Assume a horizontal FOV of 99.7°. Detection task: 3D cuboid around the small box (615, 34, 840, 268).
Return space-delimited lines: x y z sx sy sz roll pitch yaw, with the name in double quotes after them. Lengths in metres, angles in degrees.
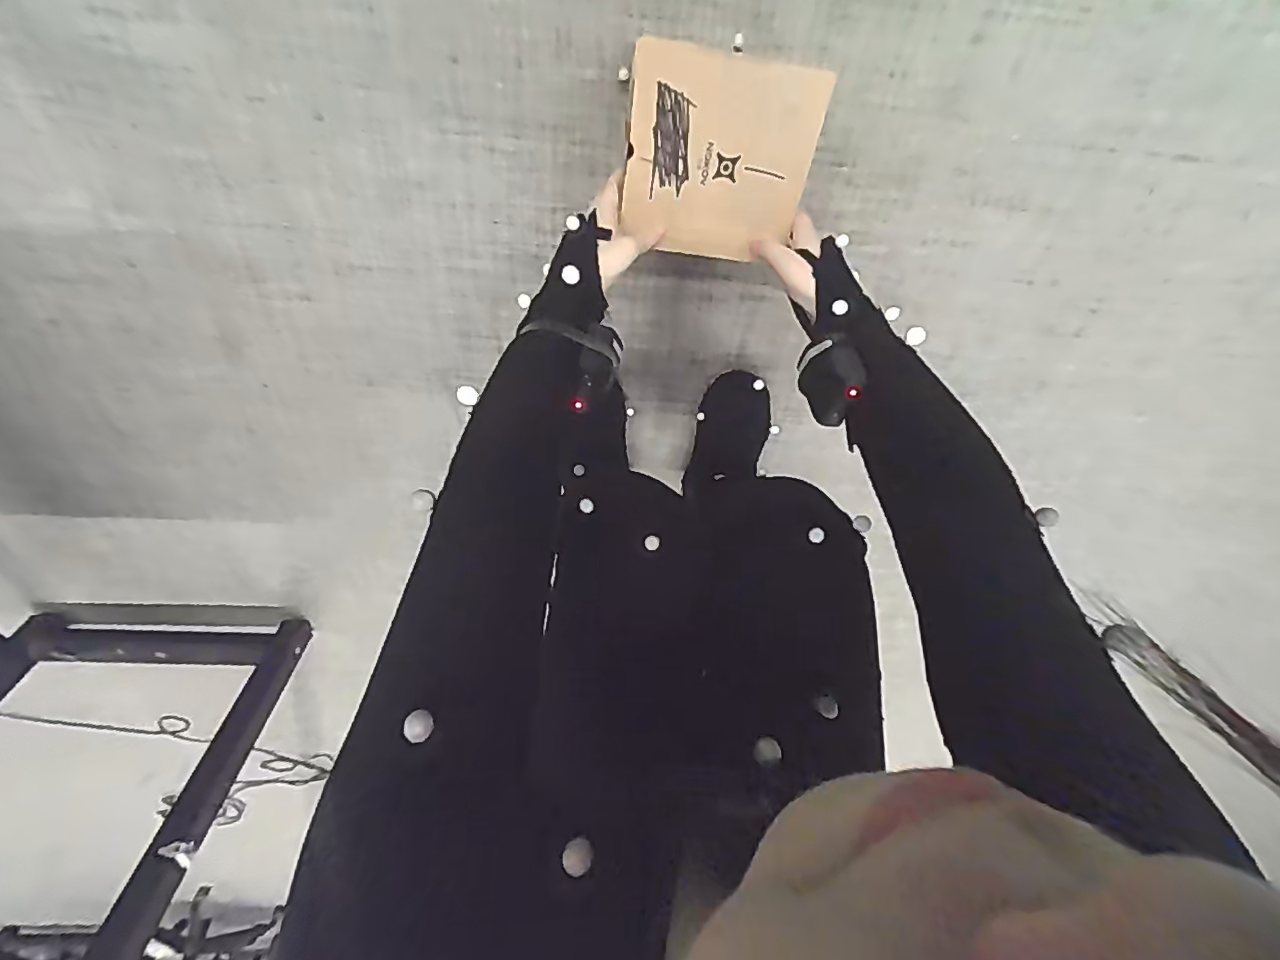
0.070 -0.336 0.554 0.179 0.176 0.168 5 129 -6 "small box"
